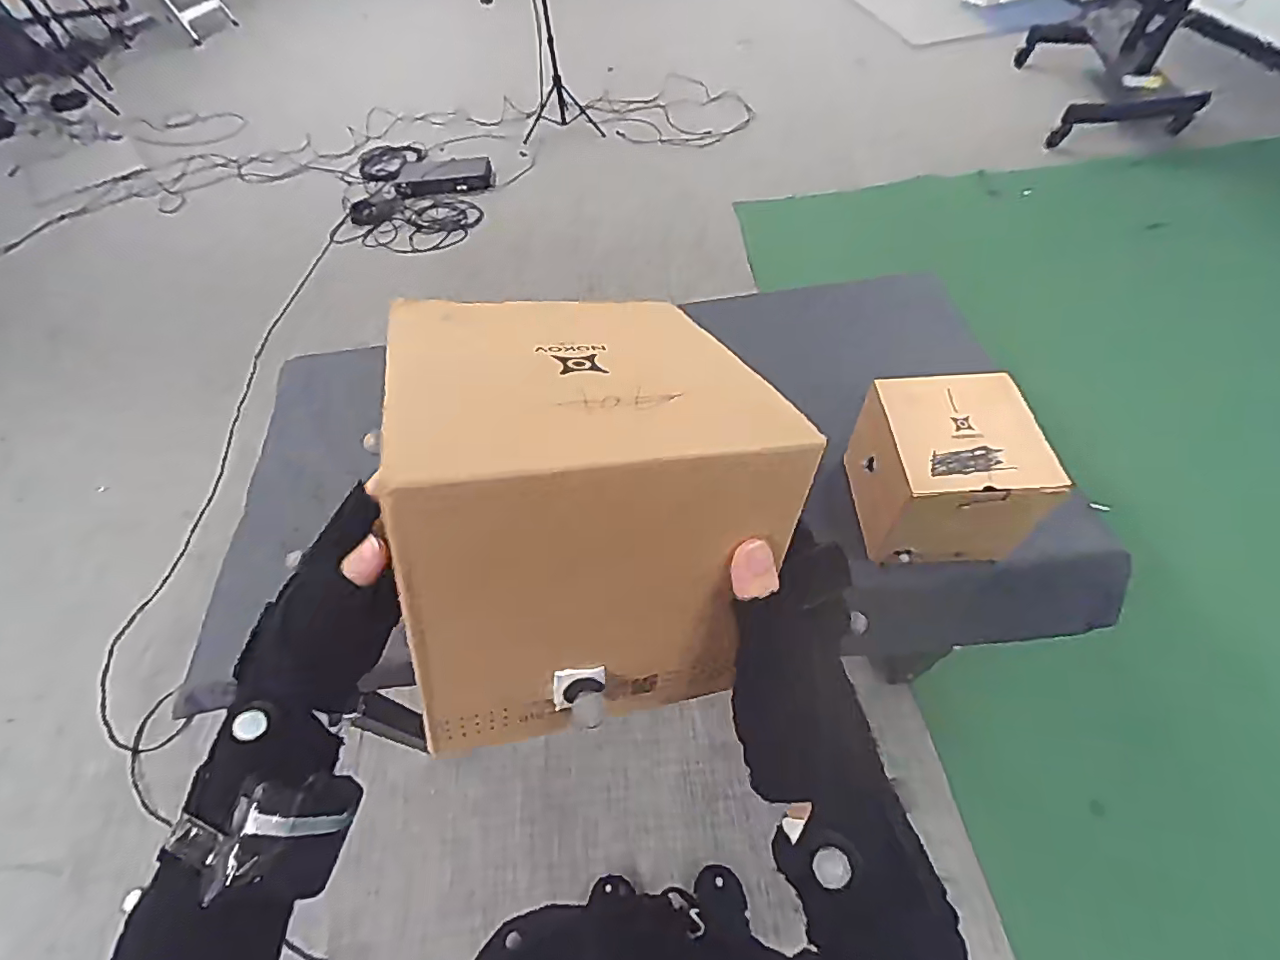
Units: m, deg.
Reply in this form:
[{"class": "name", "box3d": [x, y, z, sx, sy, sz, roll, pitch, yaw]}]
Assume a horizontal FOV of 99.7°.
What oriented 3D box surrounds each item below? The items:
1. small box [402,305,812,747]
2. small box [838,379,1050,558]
[{"class": "small box", "box3d": [-0.040, 0.012, 0.311, 0.168, 0.176, 0.179, -6, 37, -22]}, {"class": "small box", "box3d": [0.372, -0.007, 0.702, 0.168, 0.176, 0.179, -2, 54, 4]}]
